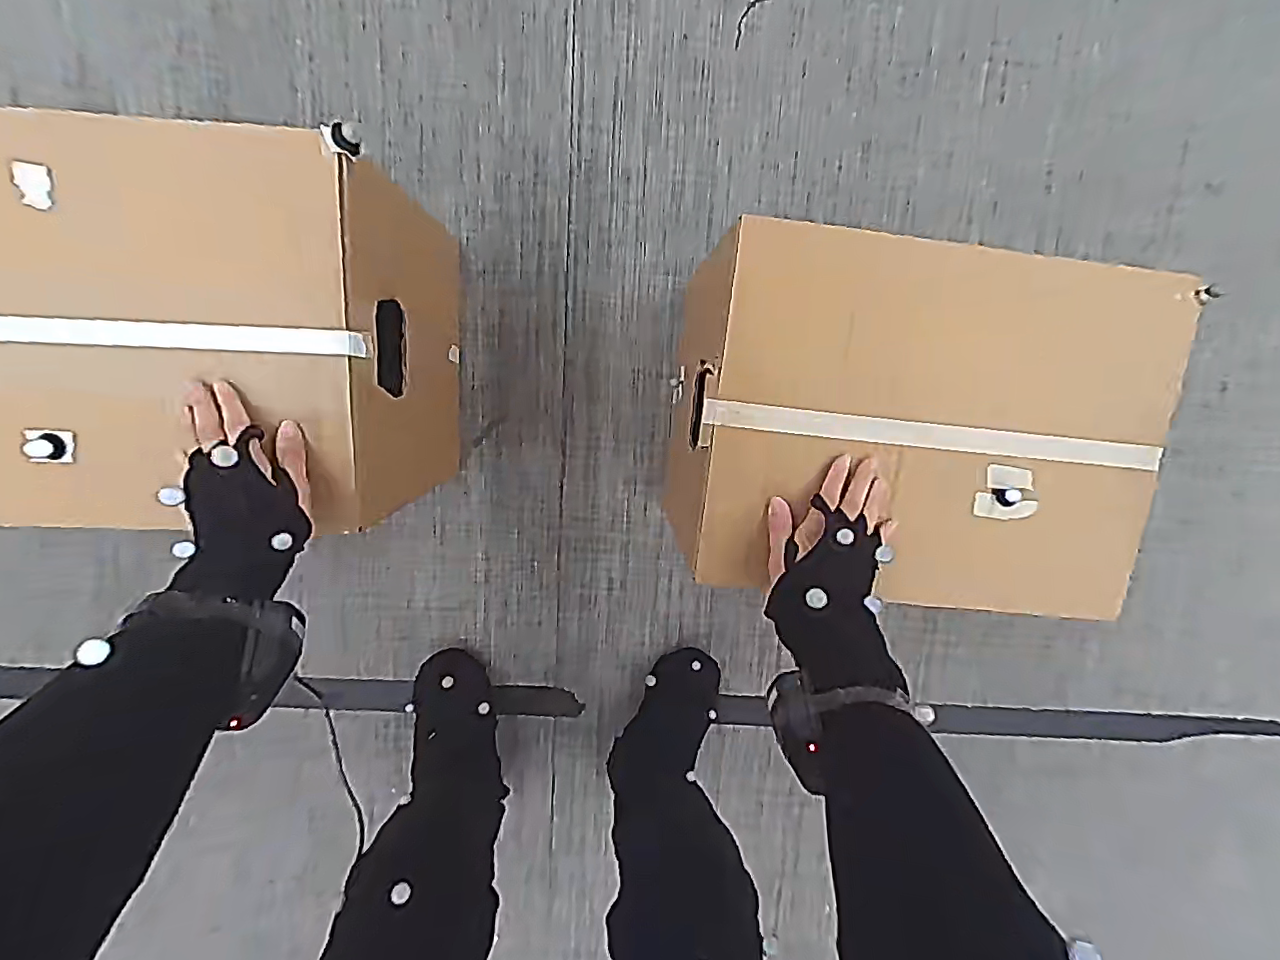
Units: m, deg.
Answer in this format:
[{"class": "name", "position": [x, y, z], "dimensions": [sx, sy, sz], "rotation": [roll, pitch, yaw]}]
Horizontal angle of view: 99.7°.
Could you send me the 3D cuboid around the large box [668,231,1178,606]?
[{"class": "large box", "position": [0.257, -0.066, 0.634], "dimensions": [0.408, 0.320, 0.320], "rotation": [5, 100, -5]}]
